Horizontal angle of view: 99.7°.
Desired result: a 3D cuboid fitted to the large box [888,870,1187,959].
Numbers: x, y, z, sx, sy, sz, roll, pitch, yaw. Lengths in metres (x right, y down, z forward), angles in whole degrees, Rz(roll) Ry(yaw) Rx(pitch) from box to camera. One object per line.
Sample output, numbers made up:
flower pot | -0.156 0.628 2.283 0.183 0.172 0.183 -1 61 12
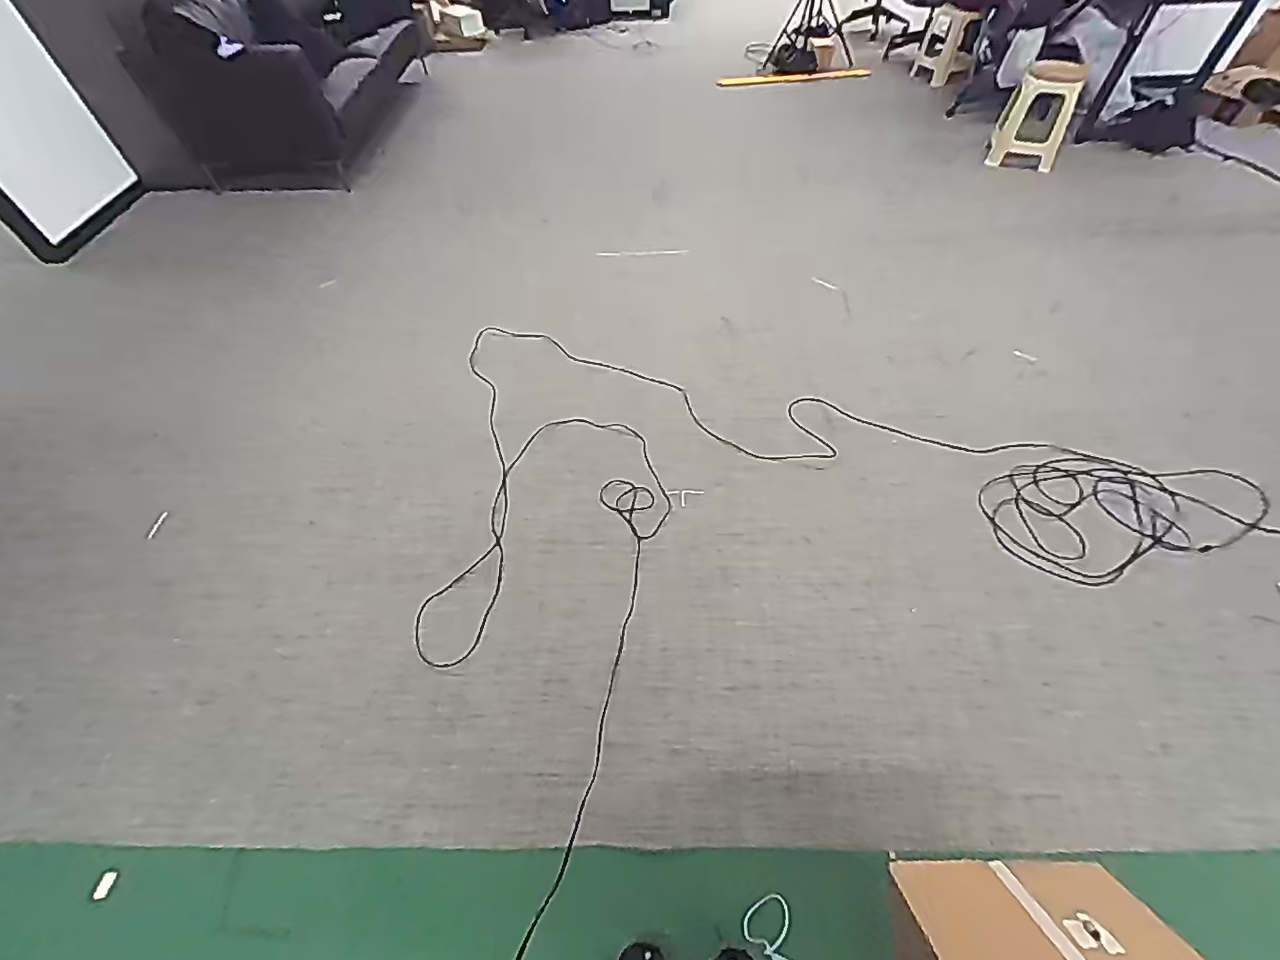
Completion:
large box | 0.529 0.747 0.622 0.320 0.408 0.320 -2 89 4
